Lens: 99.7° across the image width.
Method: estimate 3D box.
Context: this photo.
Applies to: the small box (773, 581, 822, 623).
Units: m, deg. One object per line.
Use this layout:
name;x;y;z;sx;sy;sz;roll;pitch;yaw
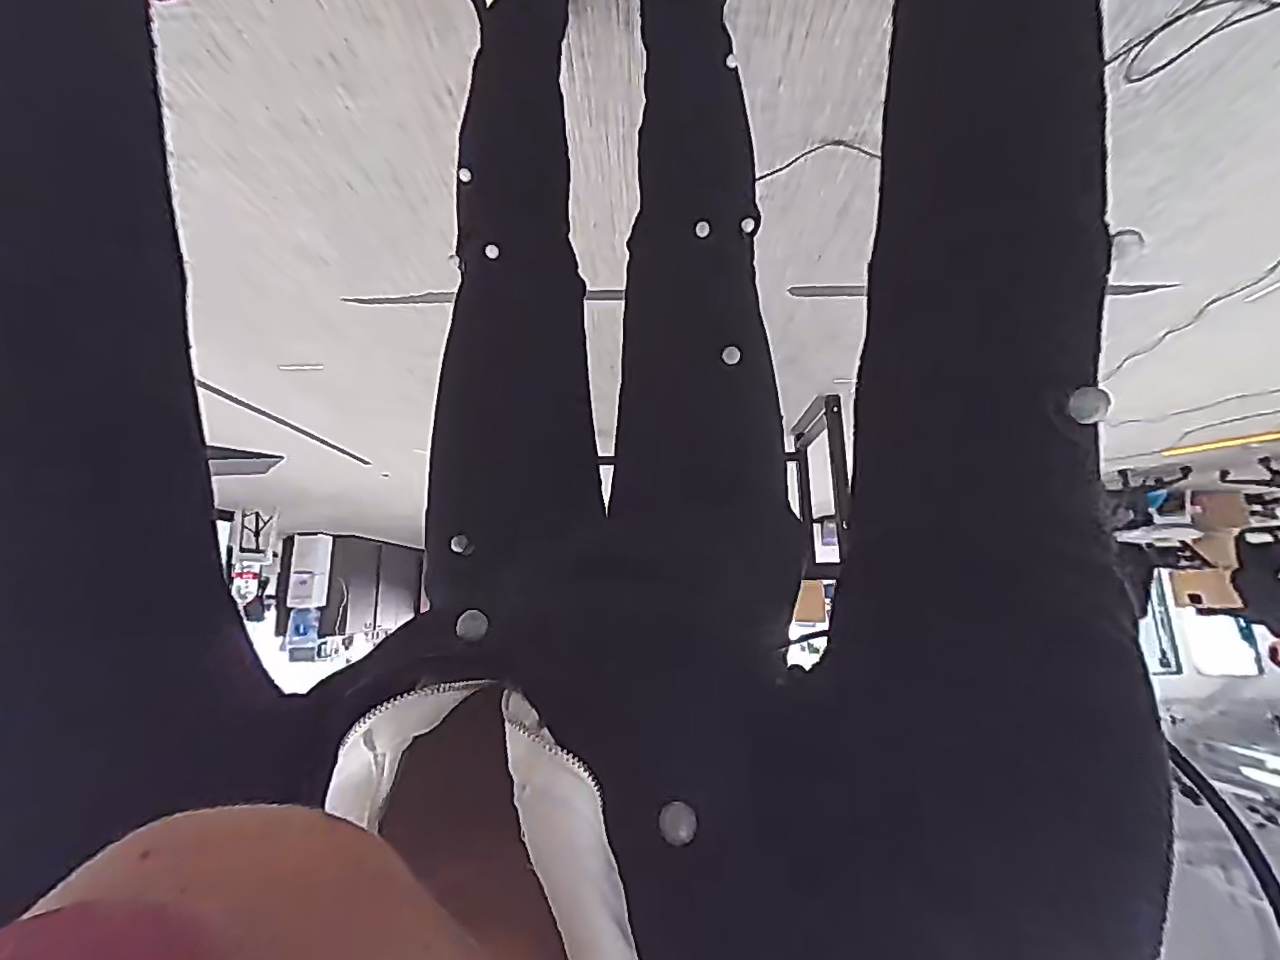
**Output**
small box;0.664;0.517;2.302;0.168;0.176;0.179;-1;168;5
